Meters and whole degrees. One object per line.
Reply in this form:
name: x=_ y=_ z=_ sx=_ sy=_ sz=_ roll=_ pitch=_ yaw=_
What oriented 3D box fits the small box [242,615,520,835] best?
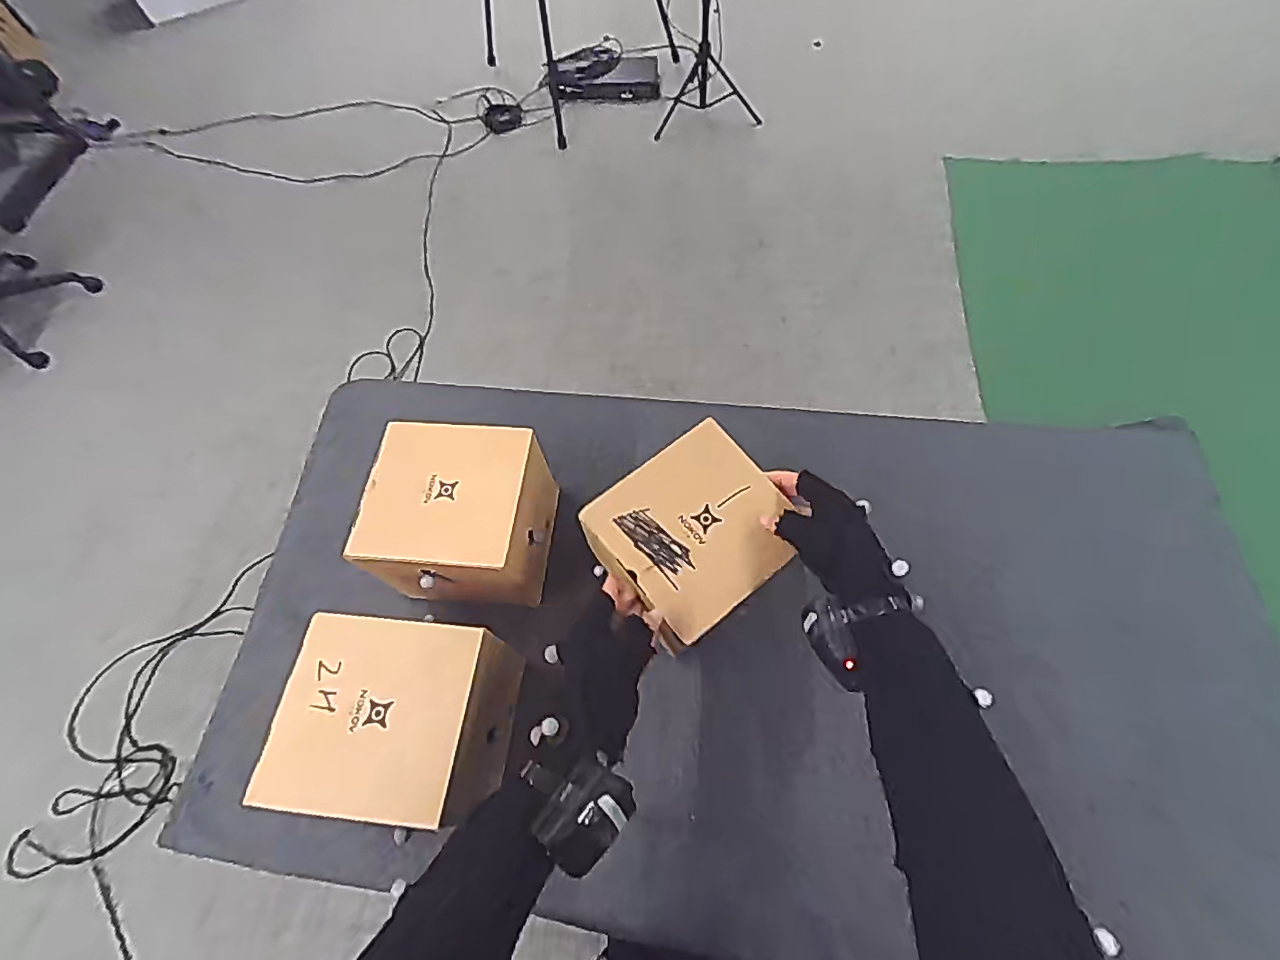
small box: x=-0.236 y=0.246 z=0.551 sx=0.179 sy=0.176 sz=0.168 roll=4 pitch=62 yaw=6
